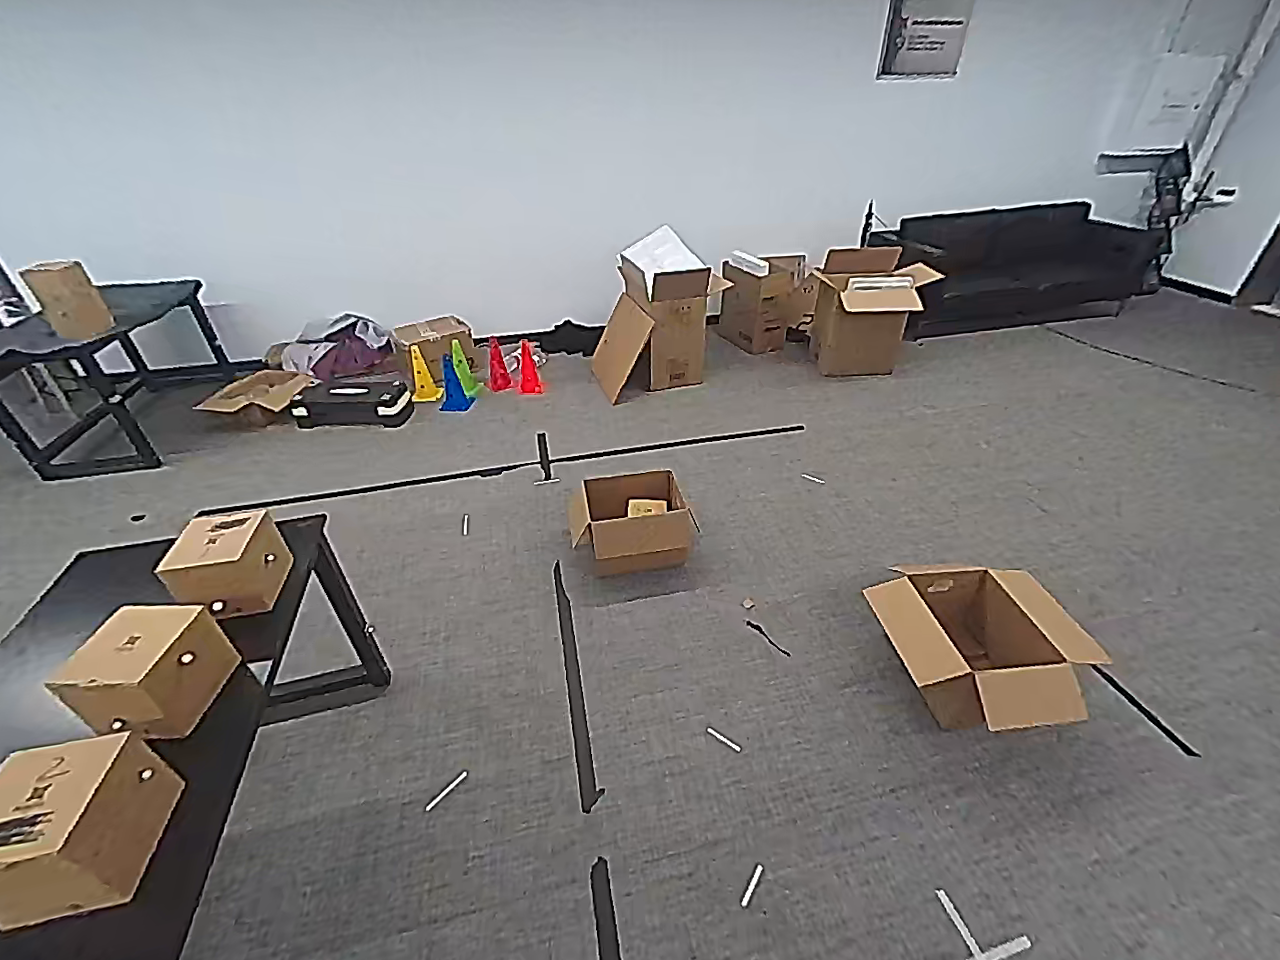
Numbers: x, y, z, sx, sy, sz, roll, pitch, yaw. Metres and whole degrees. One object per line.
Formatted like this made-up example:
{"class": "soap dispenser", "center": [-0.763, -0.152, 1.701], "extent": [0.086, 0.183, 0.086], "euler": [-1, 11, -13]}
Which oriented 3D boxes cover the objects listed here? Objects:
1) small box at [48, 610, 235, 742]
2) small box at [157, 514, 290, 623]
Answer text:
{"class": "small box", "center": [-0.918, 0.368, 1.024], "extent": [0.168, 0.176, 0.179], "euler": [-2, 36, 1]}
{"class": "small box", "center": [-0.945, 0.205, 1.251], "extent": [0.168, 0.176, 0.179], "euler": [-9, 37, -8]}
